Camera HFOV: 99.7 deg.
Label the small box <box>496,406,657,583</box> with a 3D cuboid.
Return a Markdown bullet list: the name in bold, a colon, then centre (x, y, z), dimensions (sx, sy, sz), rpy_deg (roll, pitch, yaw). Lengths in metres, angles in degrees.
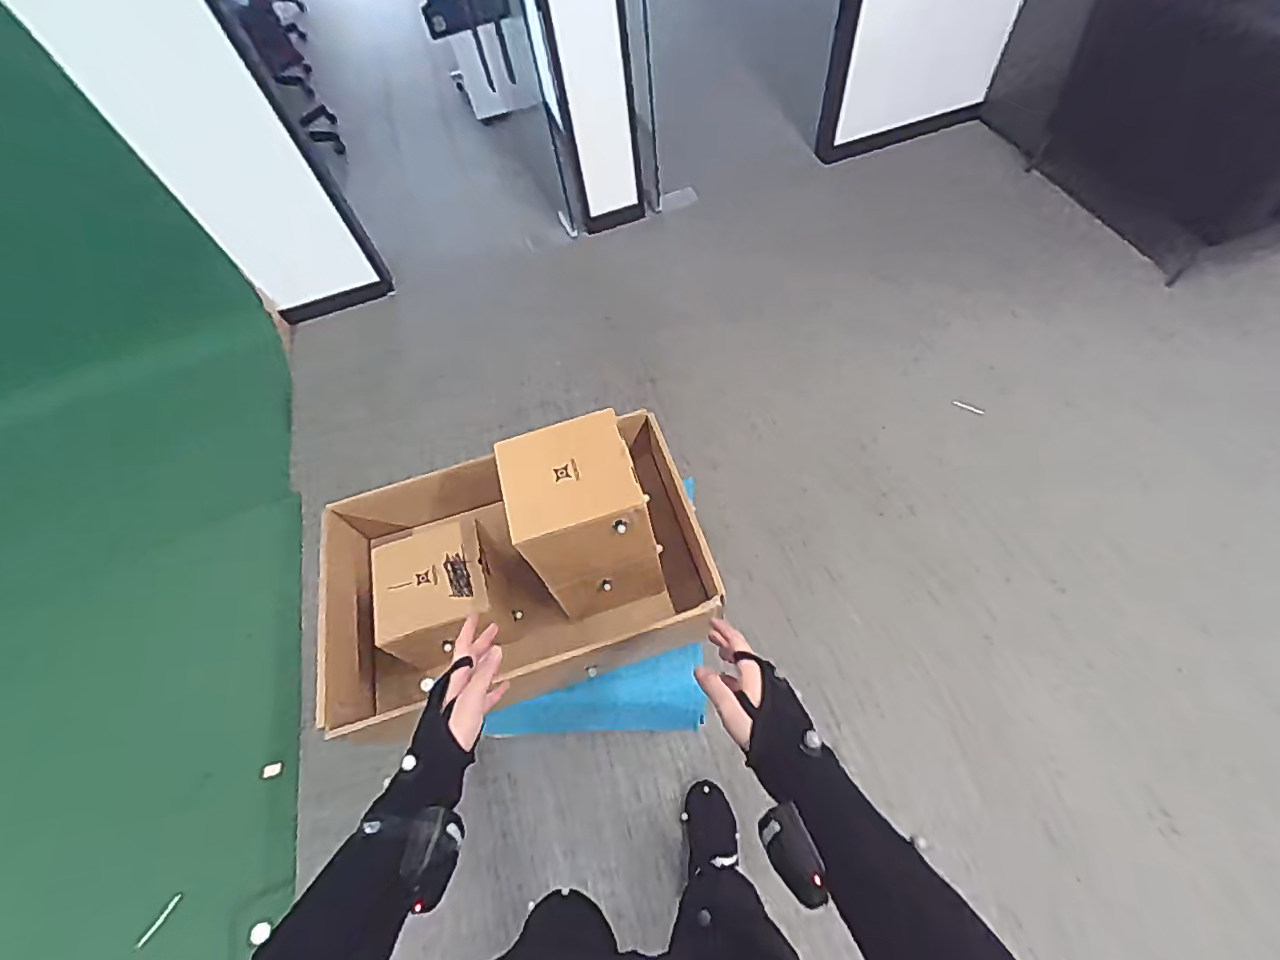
- **small box**: centre (-0.086, 0.028, 0.776), dimensions (0.179, 0.176, 0.168), rpy_deg (-17, 58, -3)
